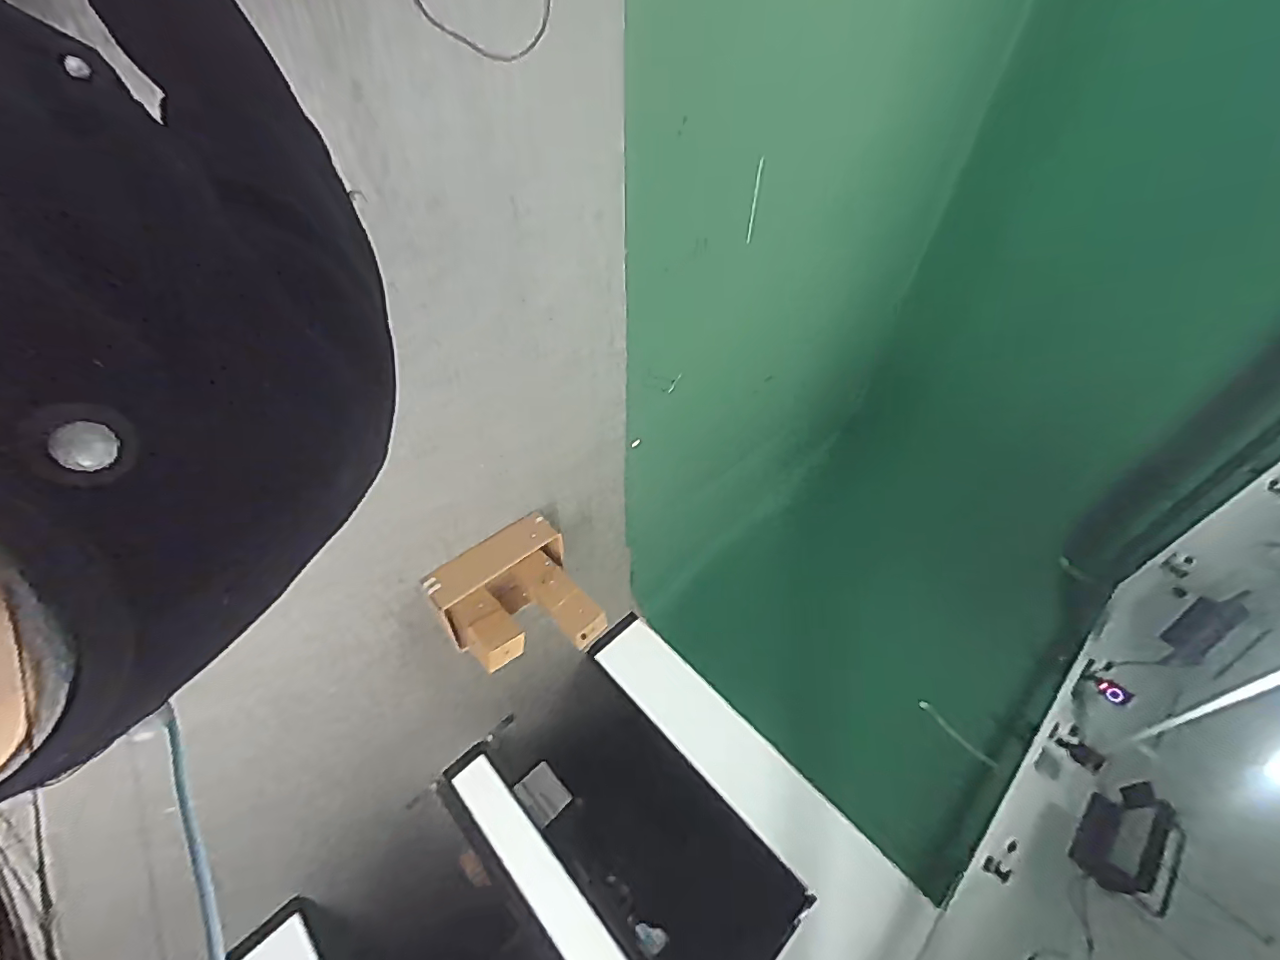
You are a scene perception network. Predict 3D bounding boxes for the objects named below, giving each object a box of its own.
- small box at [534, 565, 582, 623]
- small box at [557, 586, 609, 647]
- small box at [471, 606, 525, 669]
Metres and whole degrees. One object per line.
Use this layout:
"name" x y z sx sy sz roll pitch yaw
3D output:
"small box" -0.387 0.540 2.581 0.168 0.176 0.179 -36 147 -27
"small box" -0.270 0.631 2.508 0.179 0.176 0.168 -38 150 -24
"small box" -0.636 0.698 2.417 0.179 0.176 0.168 -26 142 -37
